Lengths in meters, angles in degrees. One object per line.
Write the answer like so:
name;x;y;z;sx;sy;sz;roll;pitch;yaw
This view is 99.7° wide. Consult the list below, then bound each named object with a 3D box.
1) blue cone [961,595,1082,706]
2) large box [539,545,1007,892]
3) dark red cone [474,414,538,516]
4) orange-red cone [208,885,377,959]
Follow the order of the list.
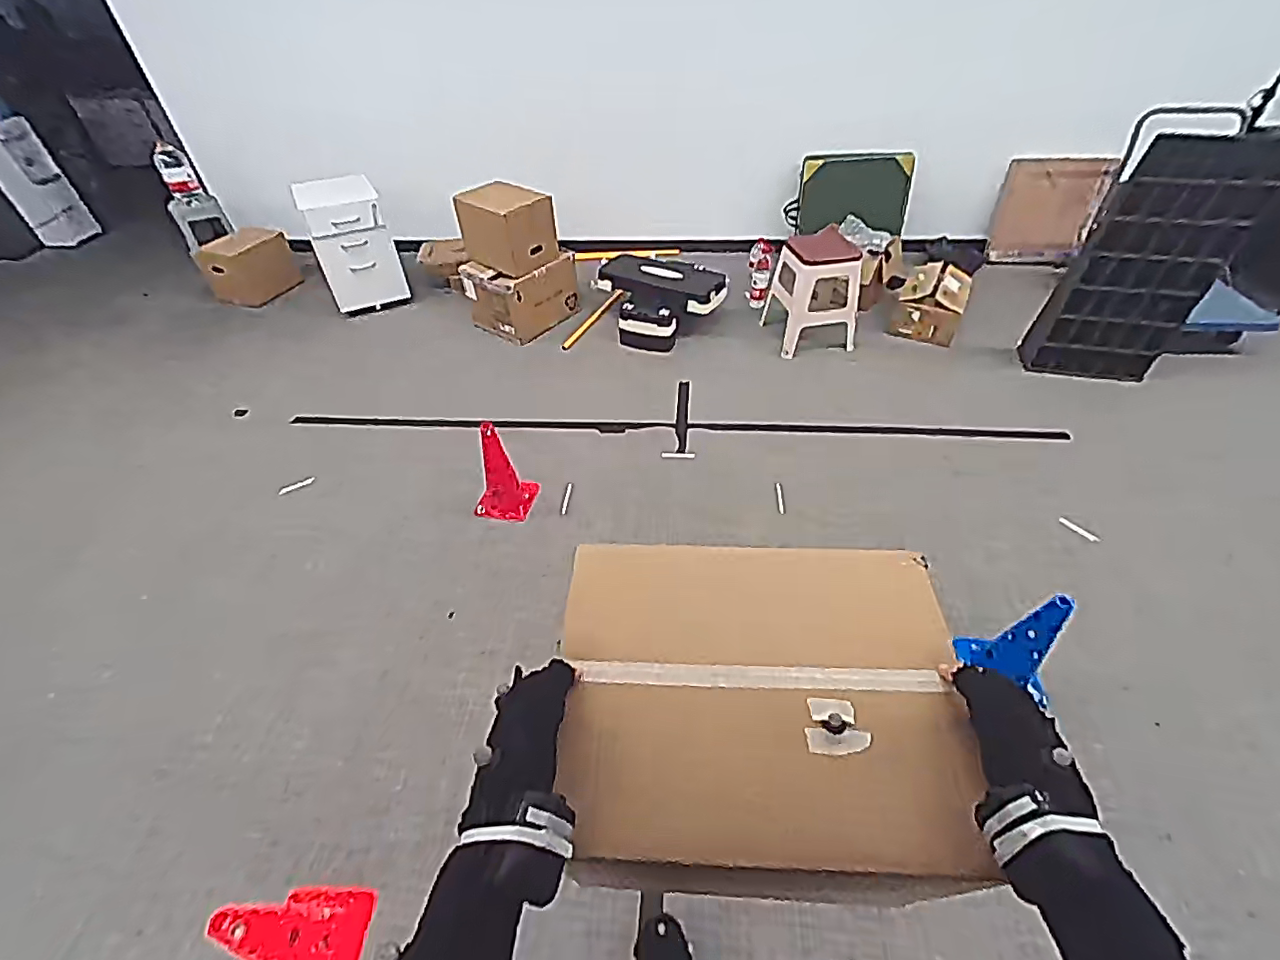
blue cone;1.012;0.418;1.401;0.192;0.380;0.193;5;45;6
large box;0.117;0.294;0.663;0.408;0.320;0.320;1;49;3
dark red cone;-0.503;-0.064;1.914;0.201;0.394;0.202;7;45;8
orange-red cone;-0.678;0.852;1.008;0.198;0.360;0.199;-1;45;3
